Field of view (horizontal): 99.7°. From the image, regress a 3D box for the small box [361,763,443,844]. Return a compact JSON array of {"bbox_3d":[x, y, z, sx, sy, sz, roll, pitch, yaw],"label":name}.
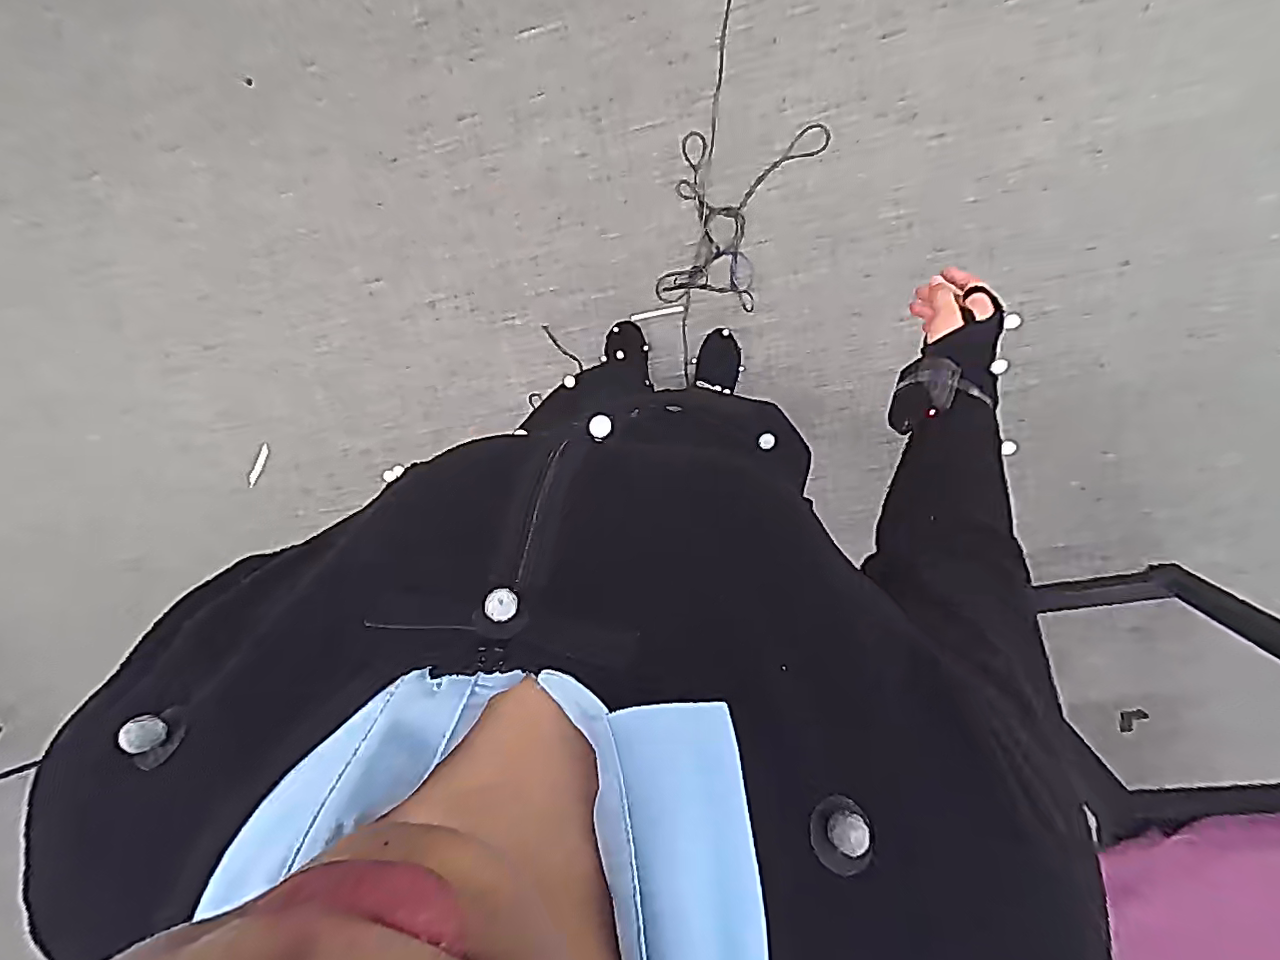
[{"bbox_3d":[-0.782,1.073,1.803,0.179,0.176,0.168,-12,103,11],"label":"small box"}]
